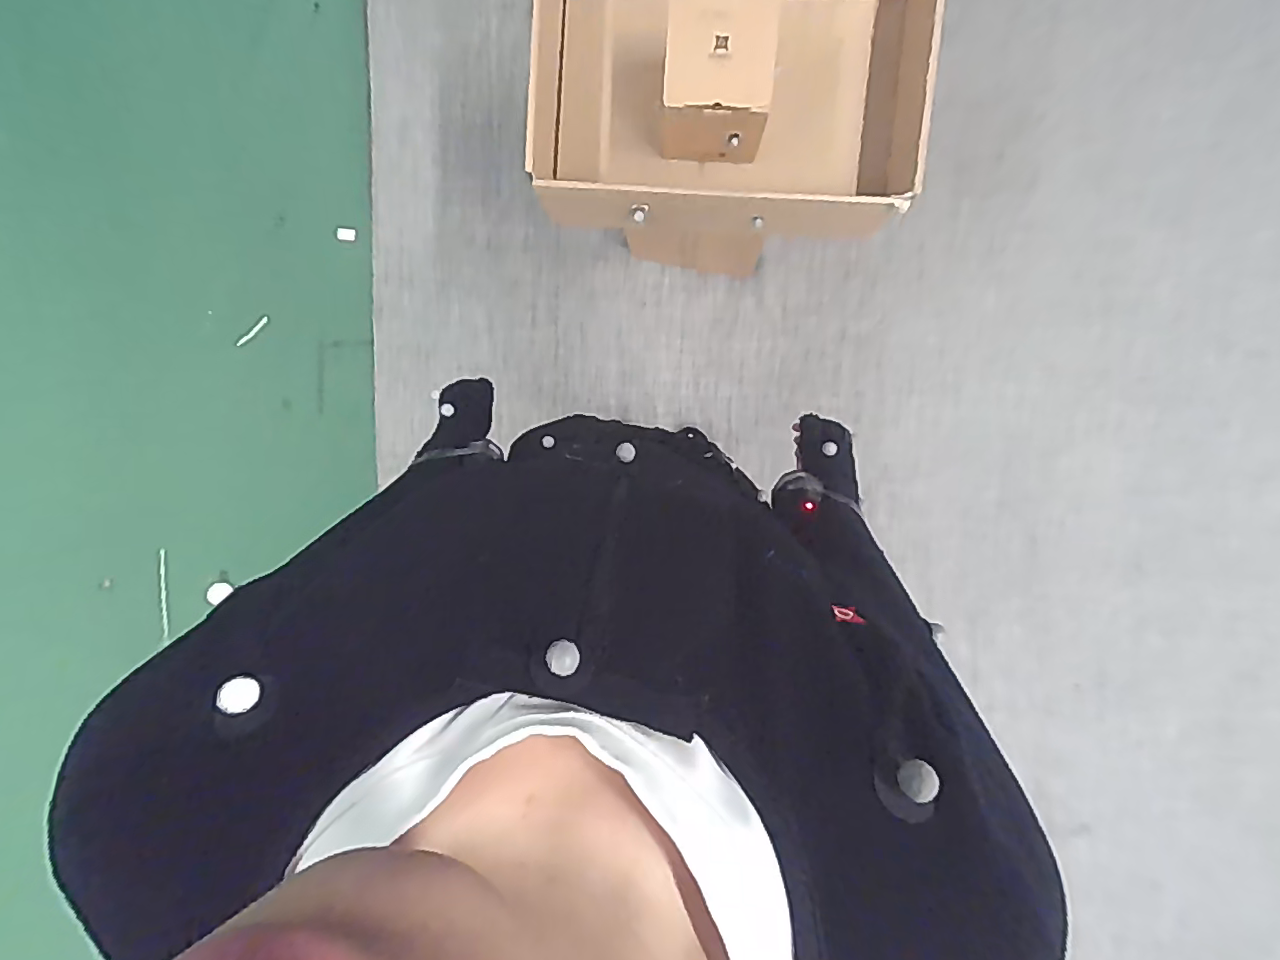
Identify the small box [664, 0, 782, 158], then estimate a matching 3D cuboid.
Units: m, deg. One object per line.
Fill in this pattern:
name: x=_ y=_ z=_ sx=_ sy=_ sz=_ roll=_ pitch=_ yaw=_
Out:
small box: x=0.127 y=-0.655 z=0.881 sx=0.168 sy=0.176 sz=0.179 roll=3 pitch=94 yaw=2
